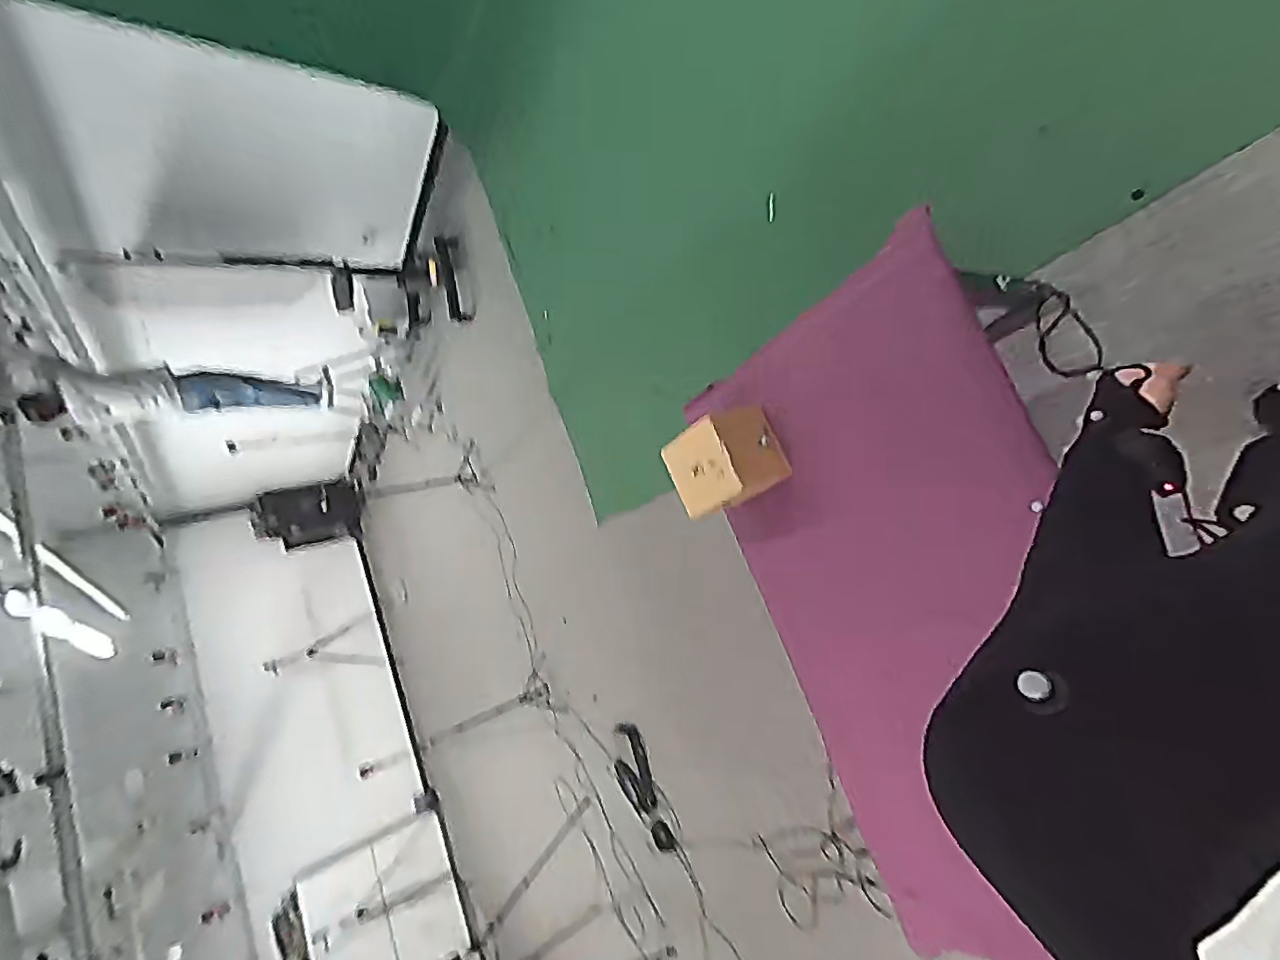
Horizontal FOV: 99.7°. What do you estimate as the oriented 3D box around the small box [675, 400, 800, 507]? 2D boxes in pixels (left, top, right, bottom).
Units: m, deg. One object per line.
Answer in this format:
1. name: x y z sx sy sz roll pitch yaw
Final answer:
1. small box: 0.213 -0.059 1.189 0.179 0.176 0.168 -37 73 51
